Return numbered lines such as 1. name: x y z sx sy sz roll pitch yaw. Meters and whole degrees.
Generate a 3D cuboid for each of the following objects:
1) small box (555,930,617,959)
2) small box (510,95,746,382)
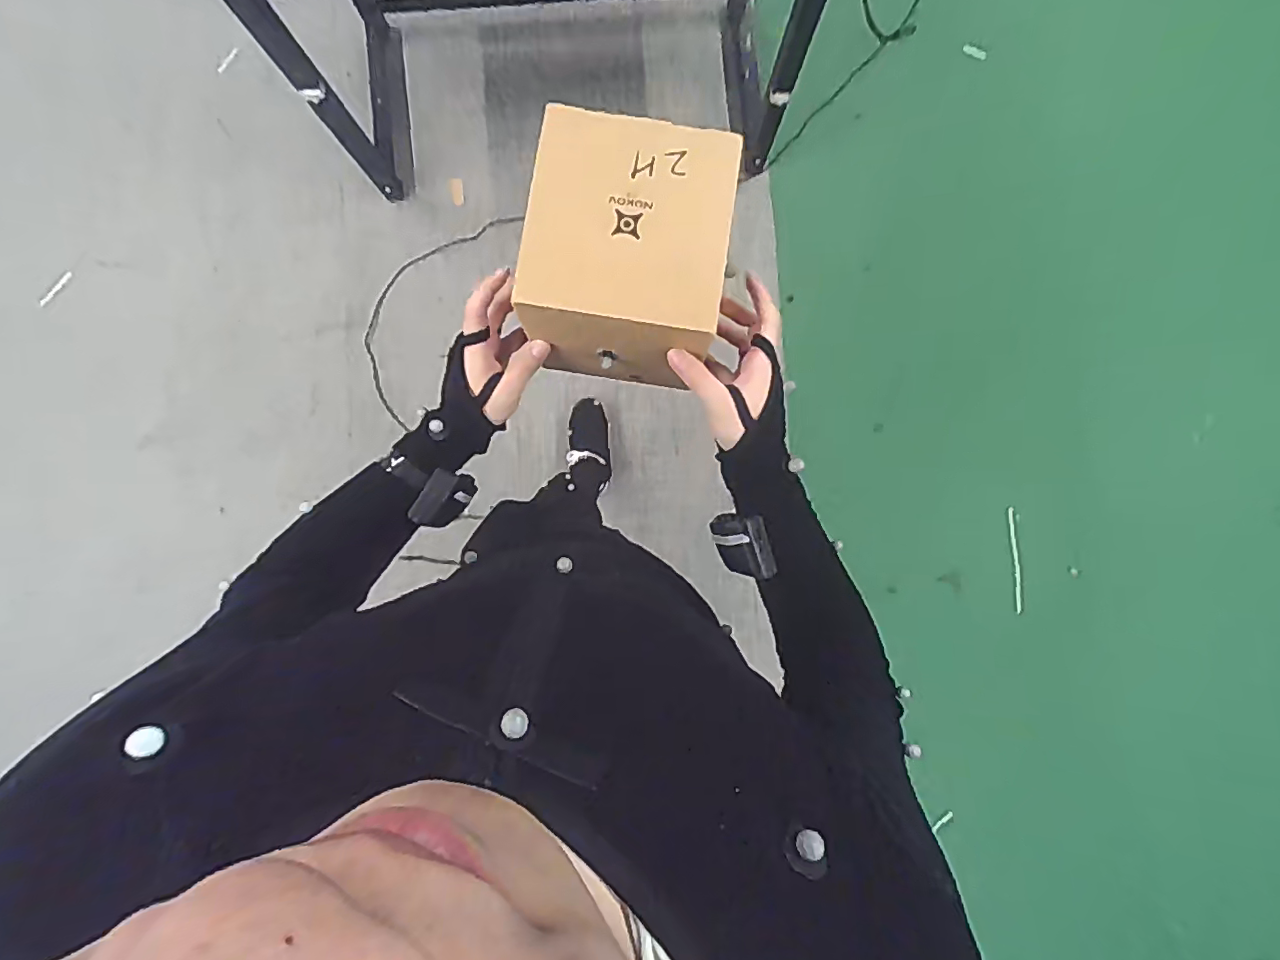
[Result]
1. small box: -0.152 1.341 1.421 0.168 0.176 0.179 9 88 0
2. small box: -0.010 -0.205 0.508 0.168 0.176 0.179 10 84 -1
